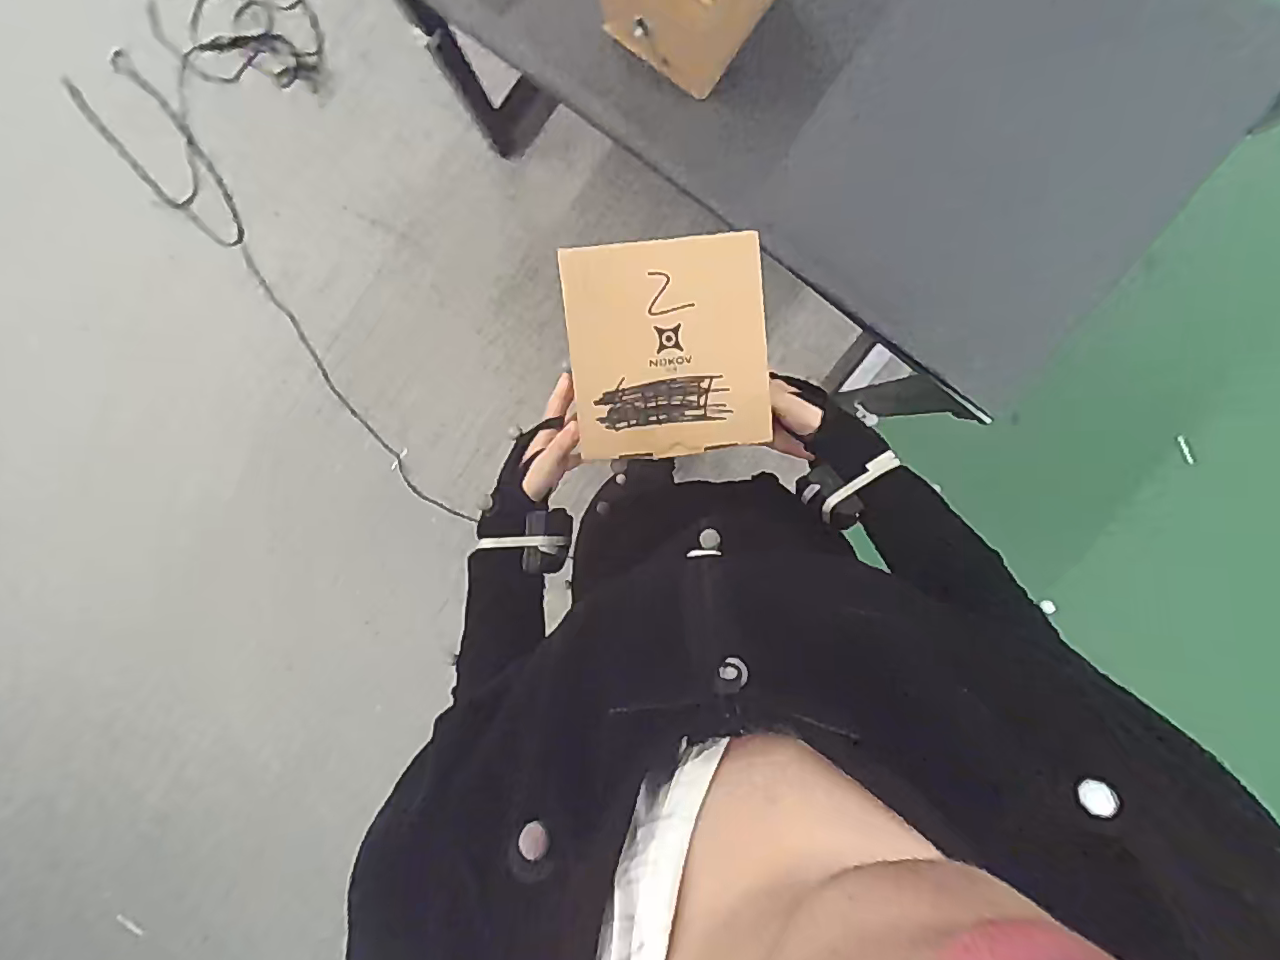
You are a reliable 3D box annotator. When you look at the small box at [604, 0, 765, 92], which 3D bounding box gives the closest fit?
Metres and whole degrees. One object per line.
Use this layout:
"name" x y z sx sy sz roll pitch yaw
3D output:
"small box" 0.061 -0.611 0.620 0.168 0.176 0.179 36 96 -1
